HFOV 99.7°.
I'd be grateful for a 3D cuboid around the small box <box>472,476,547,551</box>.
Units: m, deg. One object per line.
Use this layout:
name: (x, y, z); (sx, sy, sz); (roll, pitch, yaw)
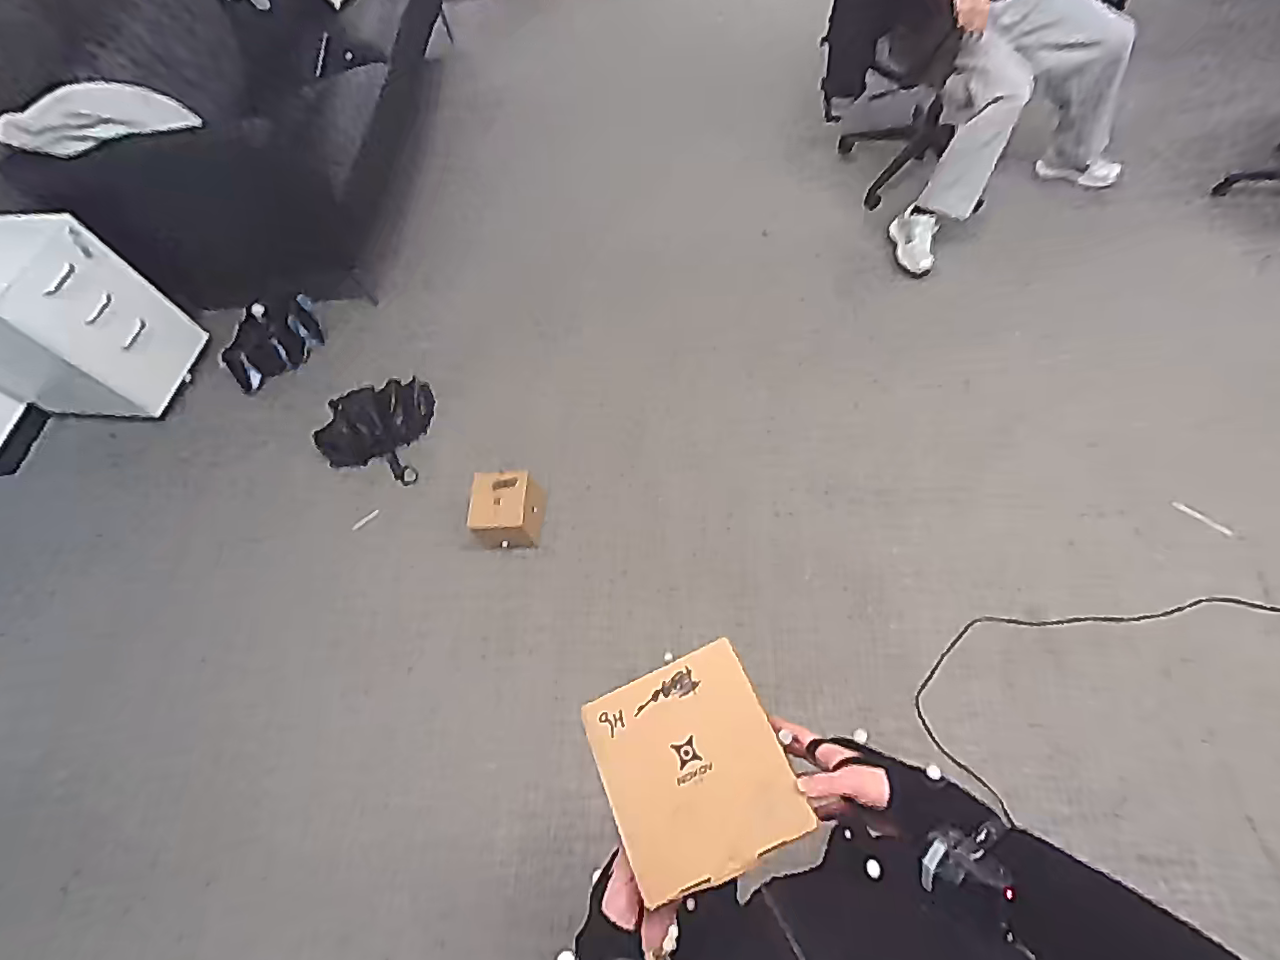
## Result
small box: (-0.388, 0.103, 1.642); (0.168, 0.176, 0.179); (-3, 63, 8)
